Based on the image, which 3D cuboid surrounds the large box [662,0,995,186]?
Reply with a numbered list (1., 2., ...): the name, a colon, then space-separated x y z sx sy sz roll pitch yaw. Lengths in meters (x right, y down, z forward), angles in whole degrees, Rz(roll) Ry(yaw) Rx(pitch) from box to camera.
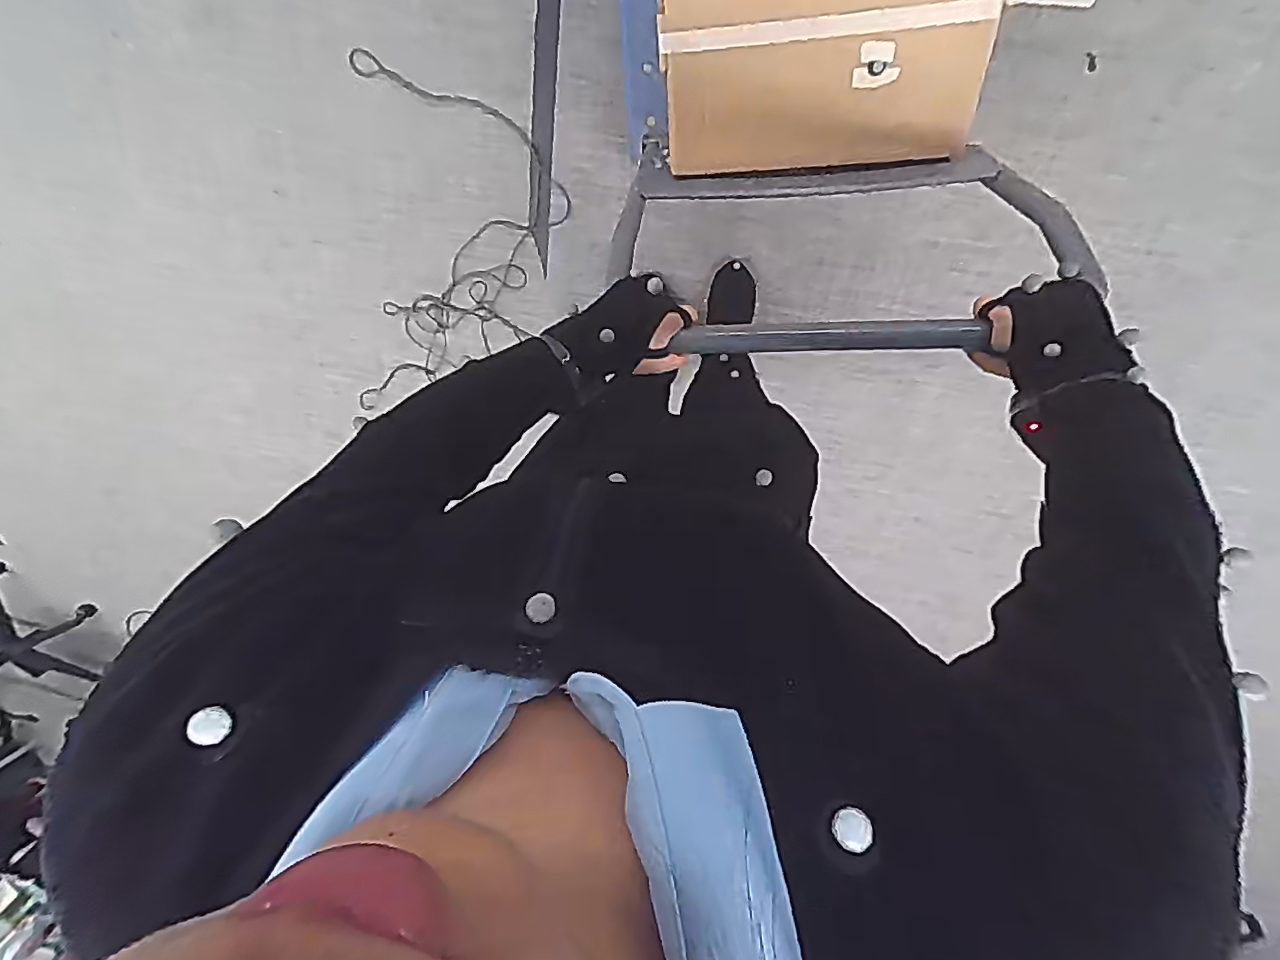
1. large box: 0.241 -0.650 0.794 0.408 0.320 0.320 0 130 7
